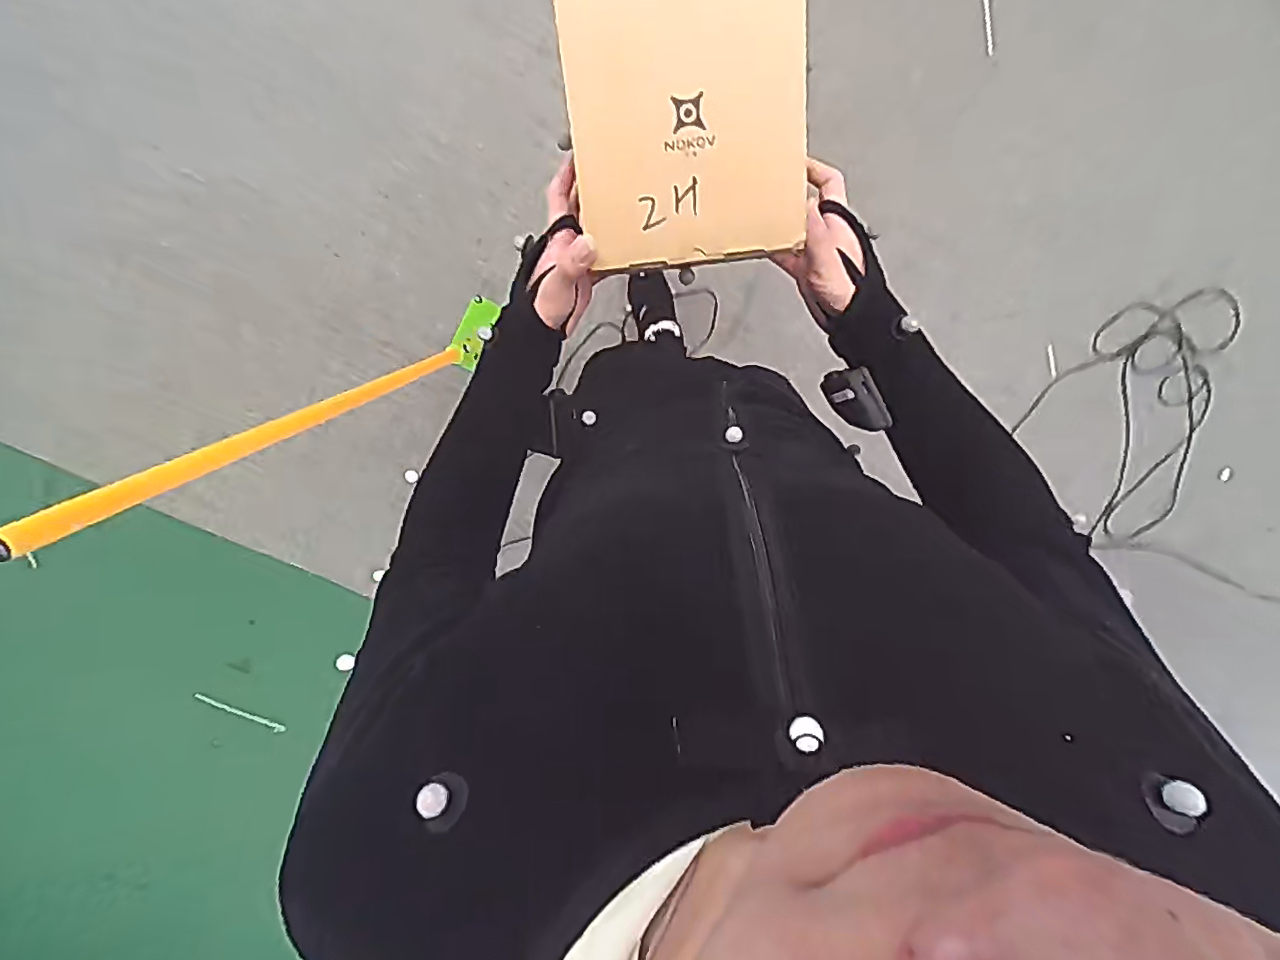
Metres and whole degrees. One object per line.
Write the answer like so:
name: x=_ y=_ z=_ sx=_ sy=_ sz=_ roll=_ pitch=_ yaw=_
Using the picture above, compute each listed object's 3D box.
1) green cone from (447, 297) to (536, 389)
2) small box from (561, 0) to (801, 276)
green cone: x=-0.412 y=-0.324 z=1.355 sx=0.202 sy=0.368 sz=0.200 roll=28 pitch=106 yaw=-11
small box: x=0.034 y=-0.276 z=0.464 sx=0.168 sy=0.176 sz=0.179 roll=-5 pitch=110 yaw=3
